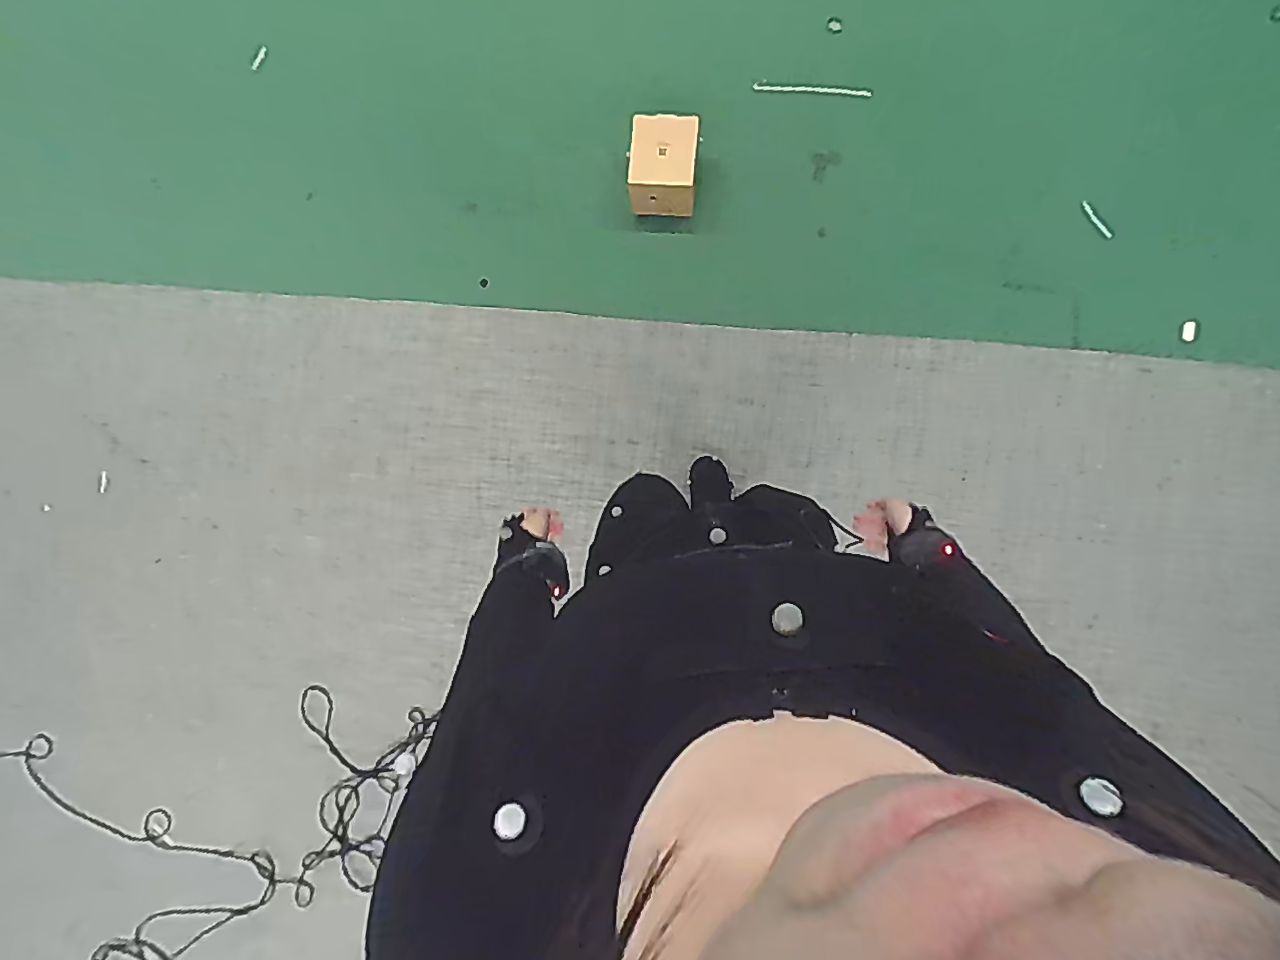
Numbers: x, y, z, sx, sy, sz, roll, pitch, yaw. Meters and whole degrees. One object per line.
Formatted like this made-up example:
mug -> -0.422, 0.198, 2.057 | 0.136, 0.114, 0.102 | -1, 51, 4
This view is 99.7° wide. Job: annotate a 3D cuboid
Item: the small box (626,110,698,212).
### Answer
small box -> 0.062, -0.826, 1.414 | 0.168, 0.176, 0.179 | 5, 91, 5
